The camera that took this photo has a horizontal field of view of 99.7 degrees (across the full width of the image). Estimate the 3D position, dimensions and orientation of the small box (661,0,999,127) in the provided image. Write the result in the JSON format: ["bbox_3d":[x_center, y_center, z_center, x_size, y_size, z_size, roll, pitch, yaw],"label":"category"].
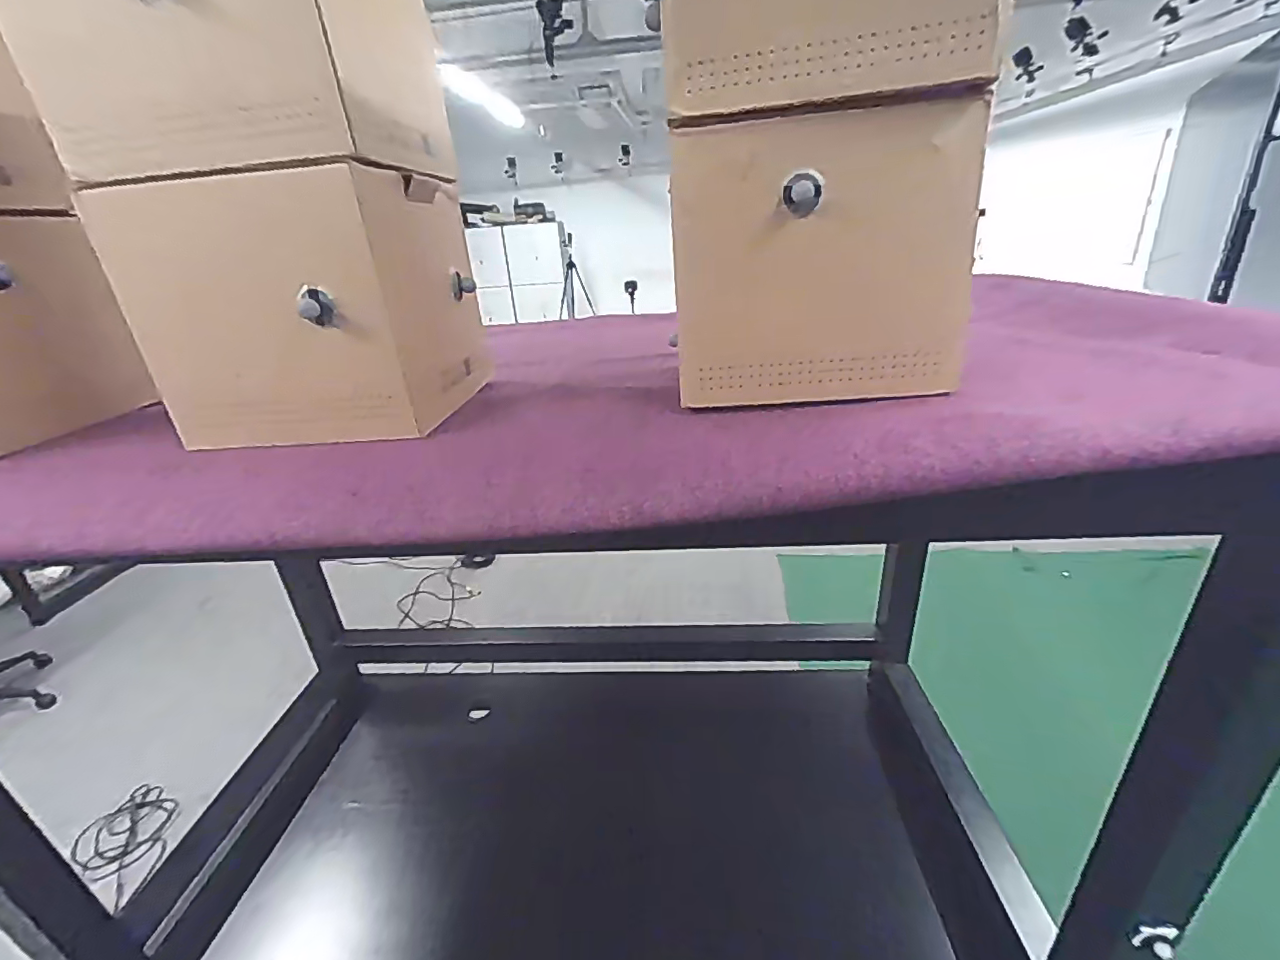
[{"bbox_3d":[0.104,-0.305,0.332,0.179,0.176,0.168,-2,23,10],"label":"small box"}]

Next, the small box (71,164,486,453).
[{"bbox_3d":[-0.233,-0.128,0.410,0.179,0.176,0.168,-4,24,5],"label":"small box"}]

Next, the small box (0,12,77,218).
[{"bbox_3d":[-0.563,-0.263,0.360,0.179,0.176,0.168,-2,26,3],"label":"small box"}]

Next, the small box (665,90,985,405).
[{"bbox_3d":[0.114,-0.155,0.399,0.179,0.176,0.168,-2,23,7],"label":"small box"}]

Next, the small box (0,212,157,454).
[{"bbox_3d":[-0.554,-0.116,0.430,0.168,0.176,0.179,-1,25,4],"label":"small box"}]
